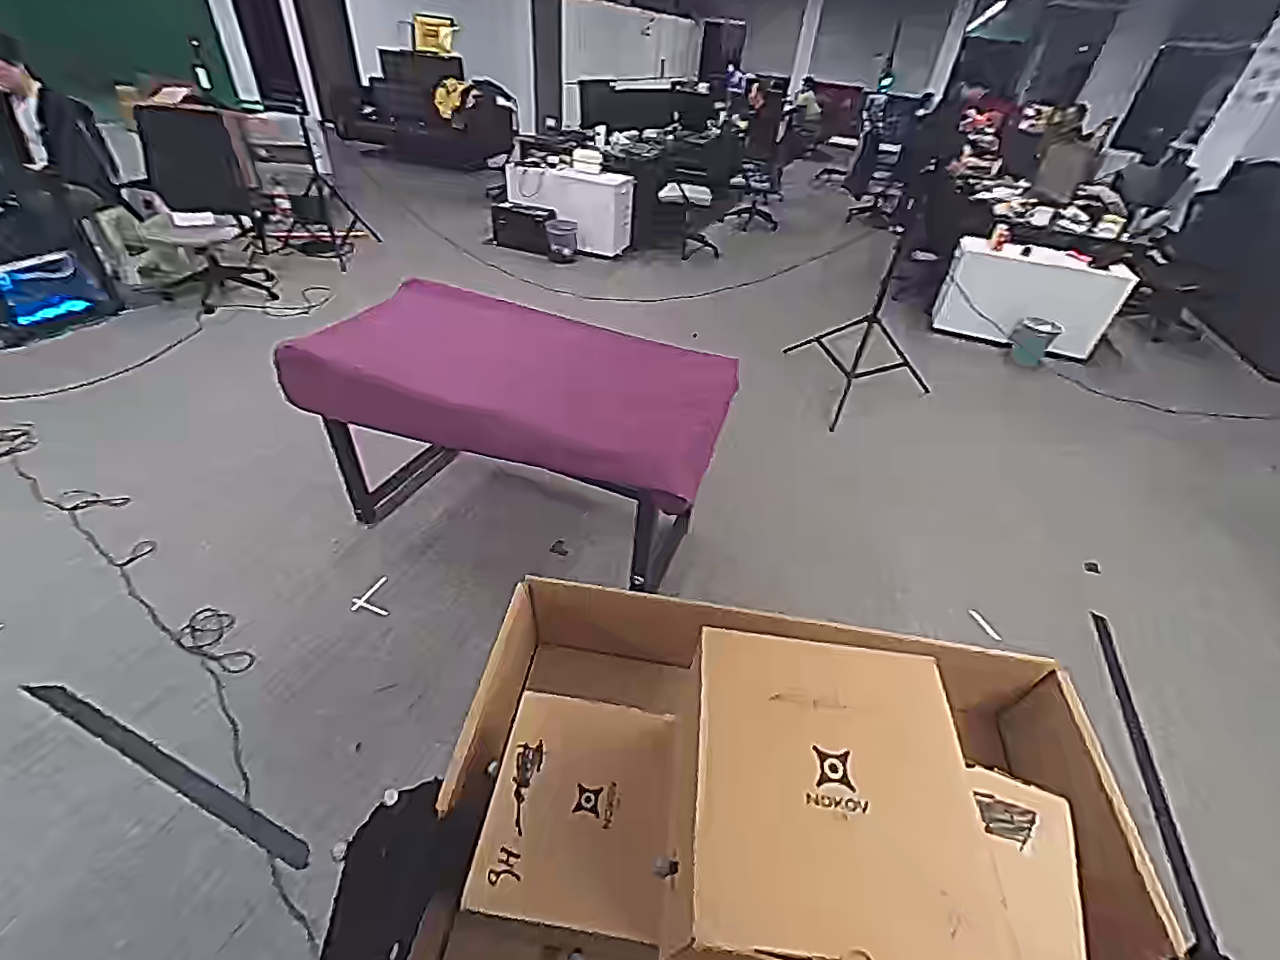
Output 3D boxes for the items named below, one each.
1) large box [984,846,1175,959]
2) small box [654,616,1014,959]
[{"bbox_3d":[0.787,1.018,1.029,0.320,0.320,0.408,15,41,13],"label":"large box"},{"bbox_3d":[0.102,0.222,0.373,0.168,0.176,0.179,7,44,1],"label":"small box"}]
